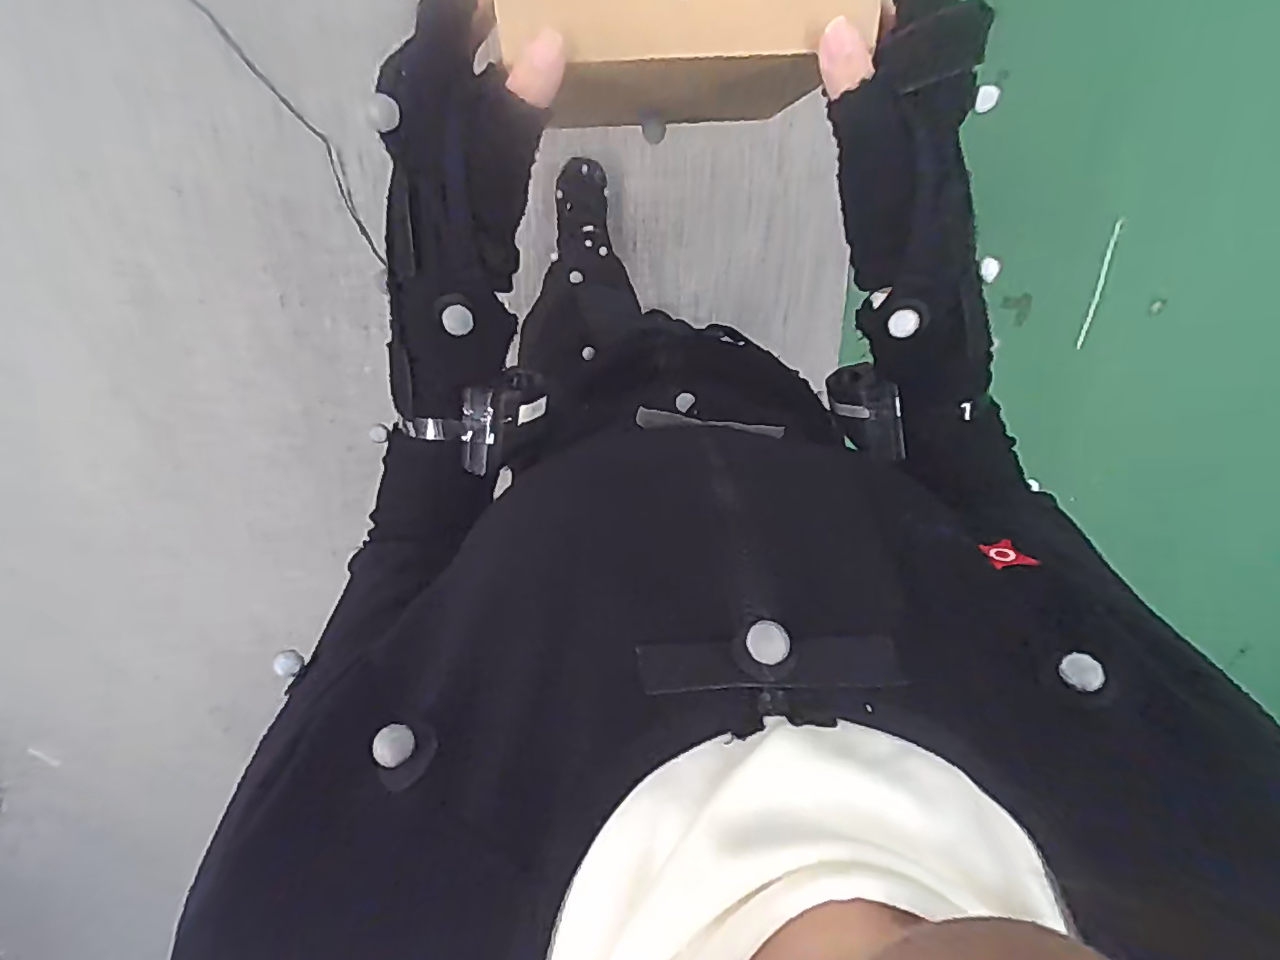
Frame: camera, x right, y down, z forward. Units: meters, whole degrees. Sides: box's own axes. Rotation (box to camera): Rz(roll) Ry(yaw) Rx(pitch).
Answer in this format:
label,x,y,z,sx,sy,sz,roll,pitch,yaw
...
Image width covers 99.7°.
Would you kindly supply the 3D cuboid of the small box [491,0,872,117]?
label,x,y,z,sx,sy,sz,roll,pitch,yaw
small box,0.011,-0.303,0.271,0.168,0.176,0.179,-4,116,-2
